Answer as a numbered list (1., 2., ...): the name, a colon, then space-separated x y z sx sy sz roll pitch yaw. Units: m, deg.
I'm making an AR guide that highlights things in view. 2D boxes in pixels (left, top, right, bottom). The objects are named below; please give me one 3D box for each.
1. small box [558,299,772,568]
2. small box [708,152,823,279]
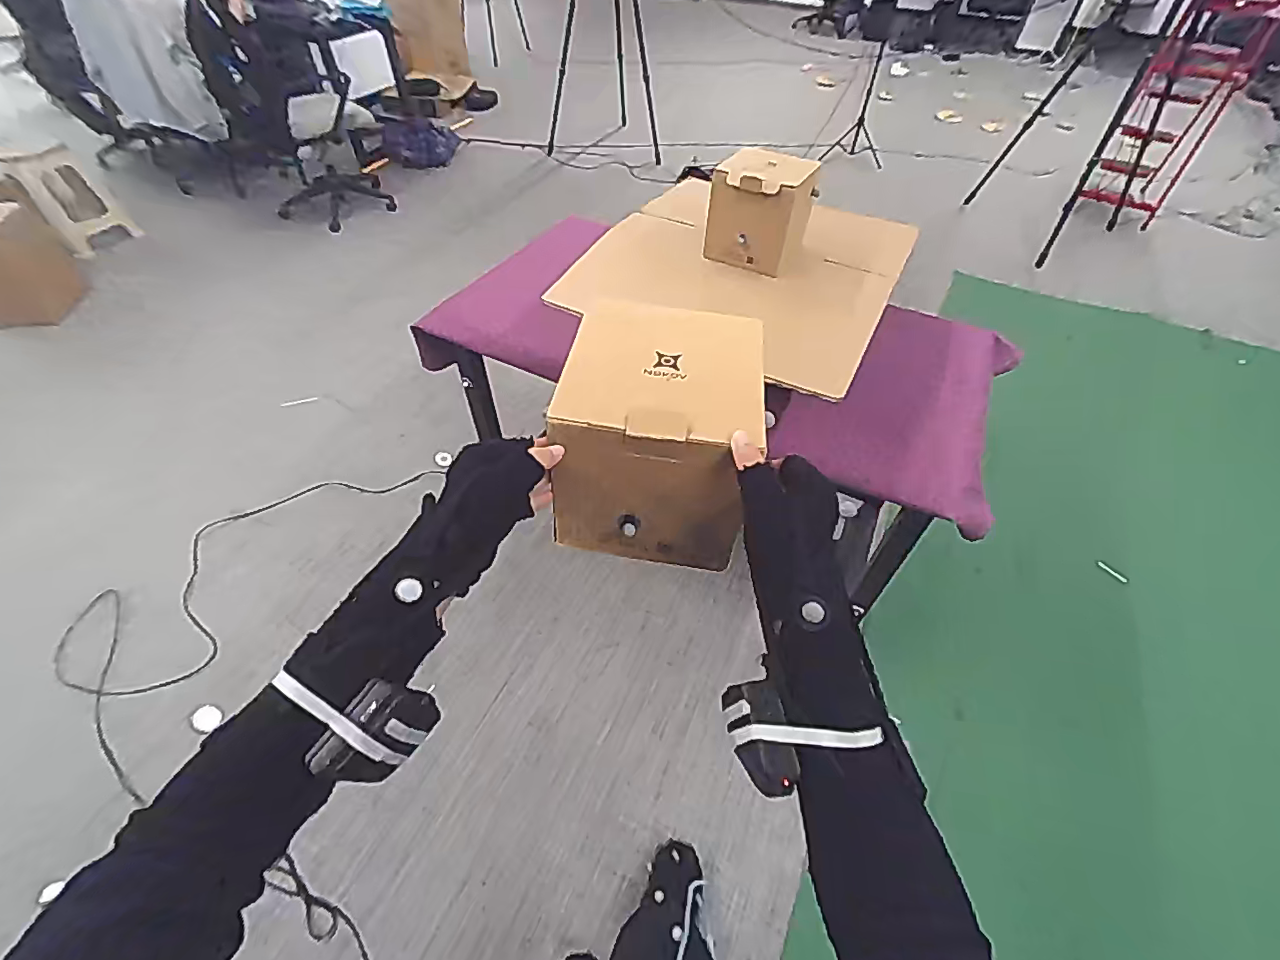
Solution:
1. small box: 0.022 -0.043 0.515 0.168 0.176 0.179 8 49 2
2. small box: 0.249 -0.541 1.105 0.168 0.176 0.179 24 51 18
